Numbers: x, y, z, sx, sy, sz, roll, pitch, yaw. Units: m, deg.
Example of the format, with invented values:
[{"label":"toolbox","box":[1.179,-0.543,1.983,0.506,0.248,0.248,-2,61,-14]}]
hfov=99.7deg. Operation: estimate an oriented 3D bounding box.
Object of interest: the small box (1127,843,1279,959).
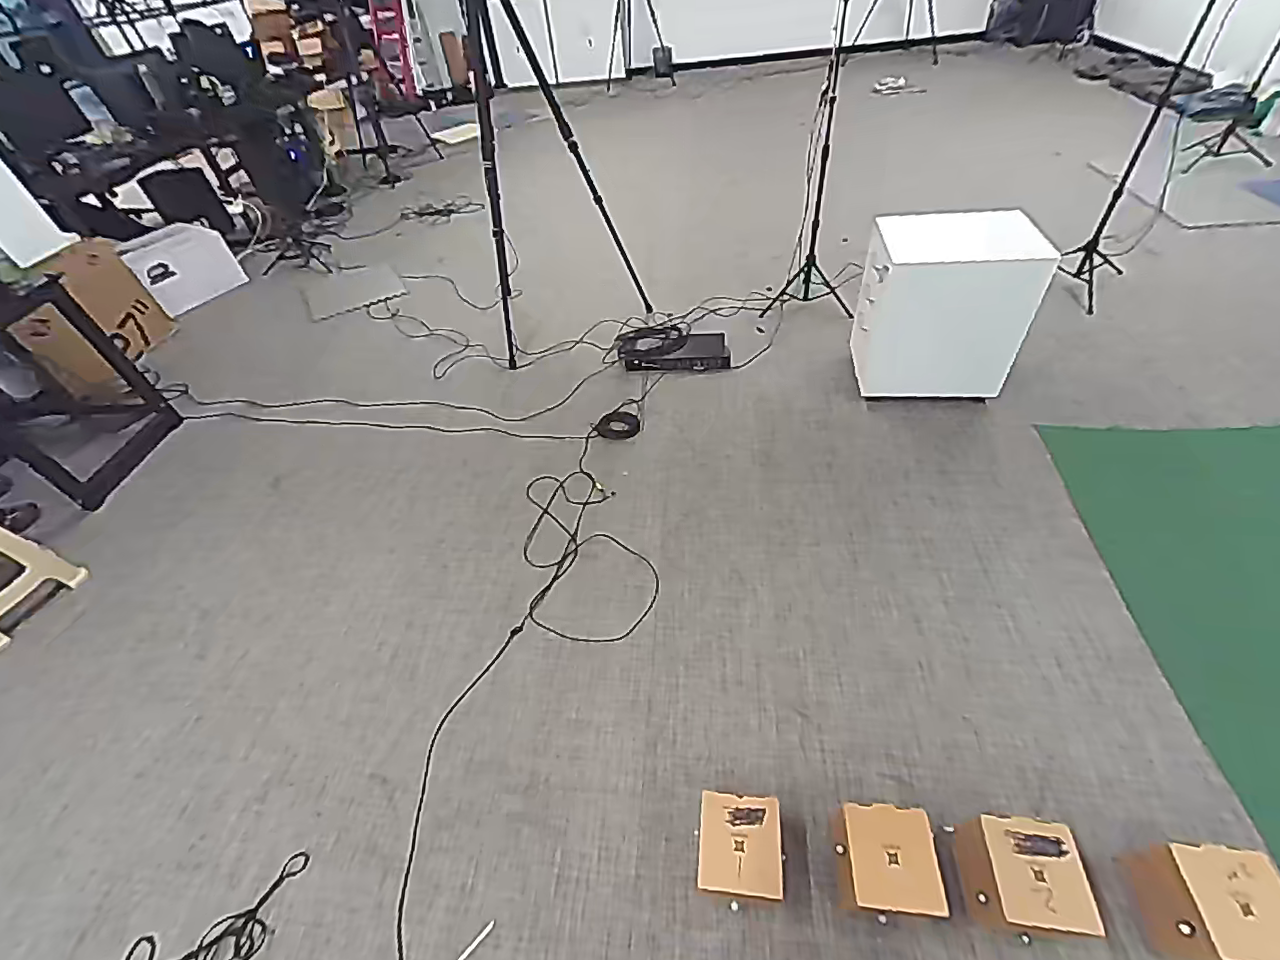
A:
[{"label":"small box","box":[1.089,0.811,1.020,0.168,0.176,0.179,1,47,8]}]

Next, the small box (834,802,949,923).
[{"label":"small box","box":[0.507,0.790,1.116,0.168,0.176,0.179,0,46,8]}]

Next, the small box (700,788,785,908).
[{"label":"small box","box":[0.216,0.787,1.156,0.168,0.176,0.179,1,48,10]}]
